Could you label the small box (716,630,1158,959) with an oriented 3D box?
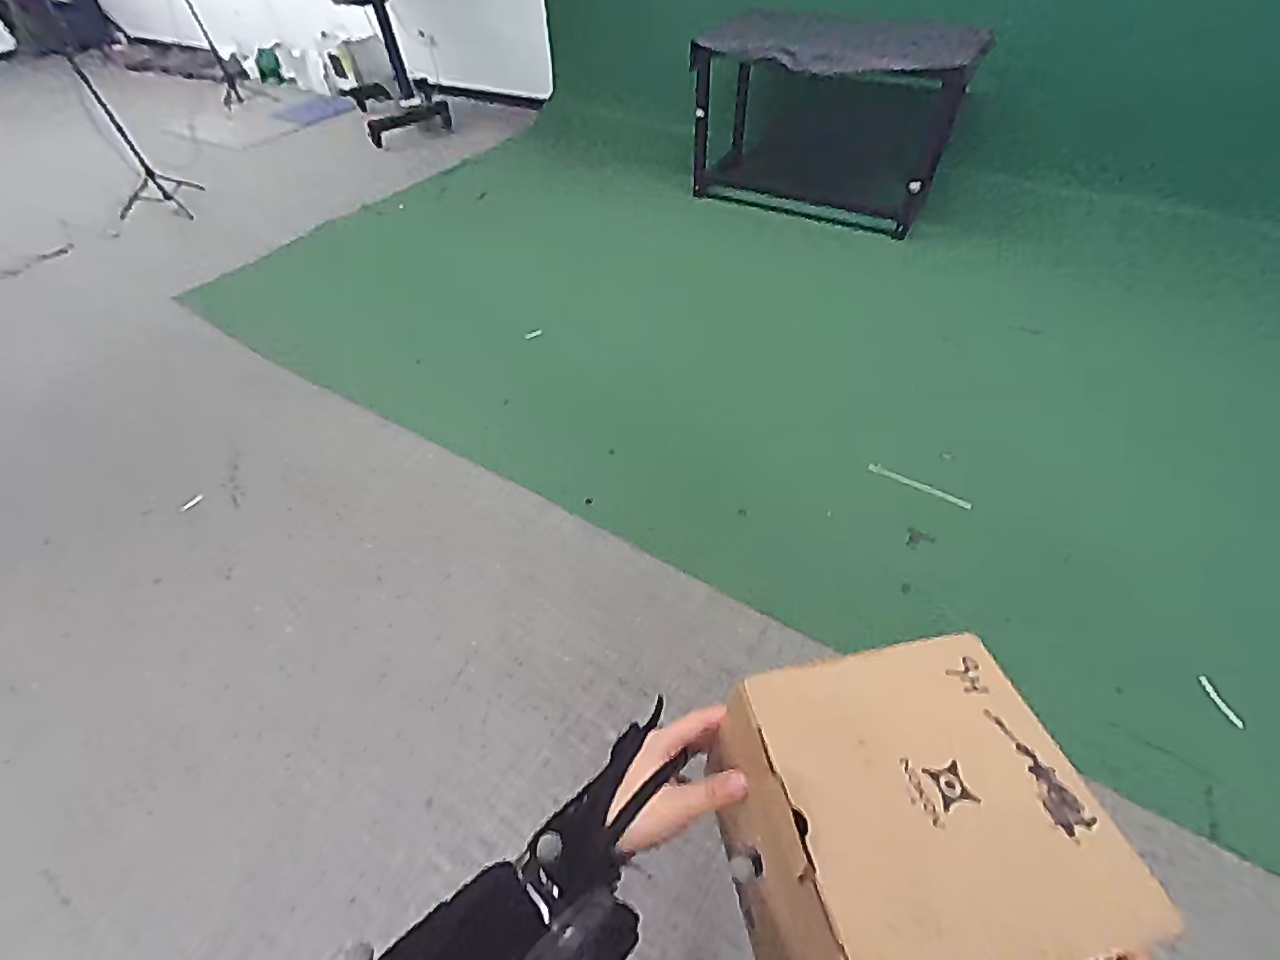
[{"bbox_3d":[0.158,0.229,0.366,0.179,0.176,0.168,-7,46,-11],"label":"small box"}]
